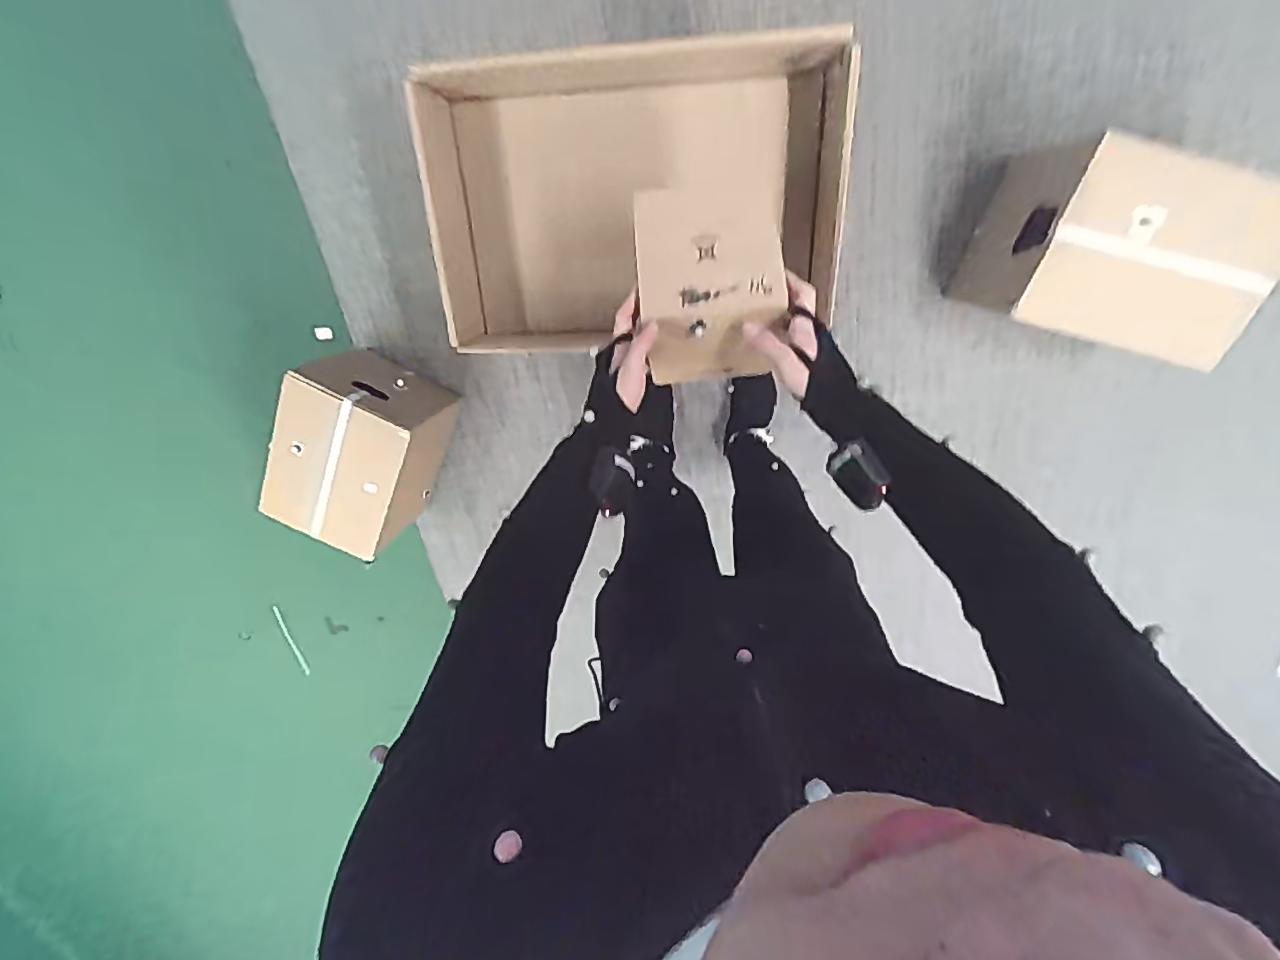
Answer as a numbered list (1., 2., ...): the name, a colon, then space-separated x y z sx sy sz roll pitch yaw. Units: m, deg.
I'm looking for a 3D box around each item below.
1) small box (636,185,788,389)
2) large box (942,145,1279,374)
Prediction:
1. small box: 0.086 -0.237 0.695 0.168 0.176 0.179 -5 74 6
2. large box: 0.936 -0.444 1.109 0.408 0.320 0.320 16 114 0
